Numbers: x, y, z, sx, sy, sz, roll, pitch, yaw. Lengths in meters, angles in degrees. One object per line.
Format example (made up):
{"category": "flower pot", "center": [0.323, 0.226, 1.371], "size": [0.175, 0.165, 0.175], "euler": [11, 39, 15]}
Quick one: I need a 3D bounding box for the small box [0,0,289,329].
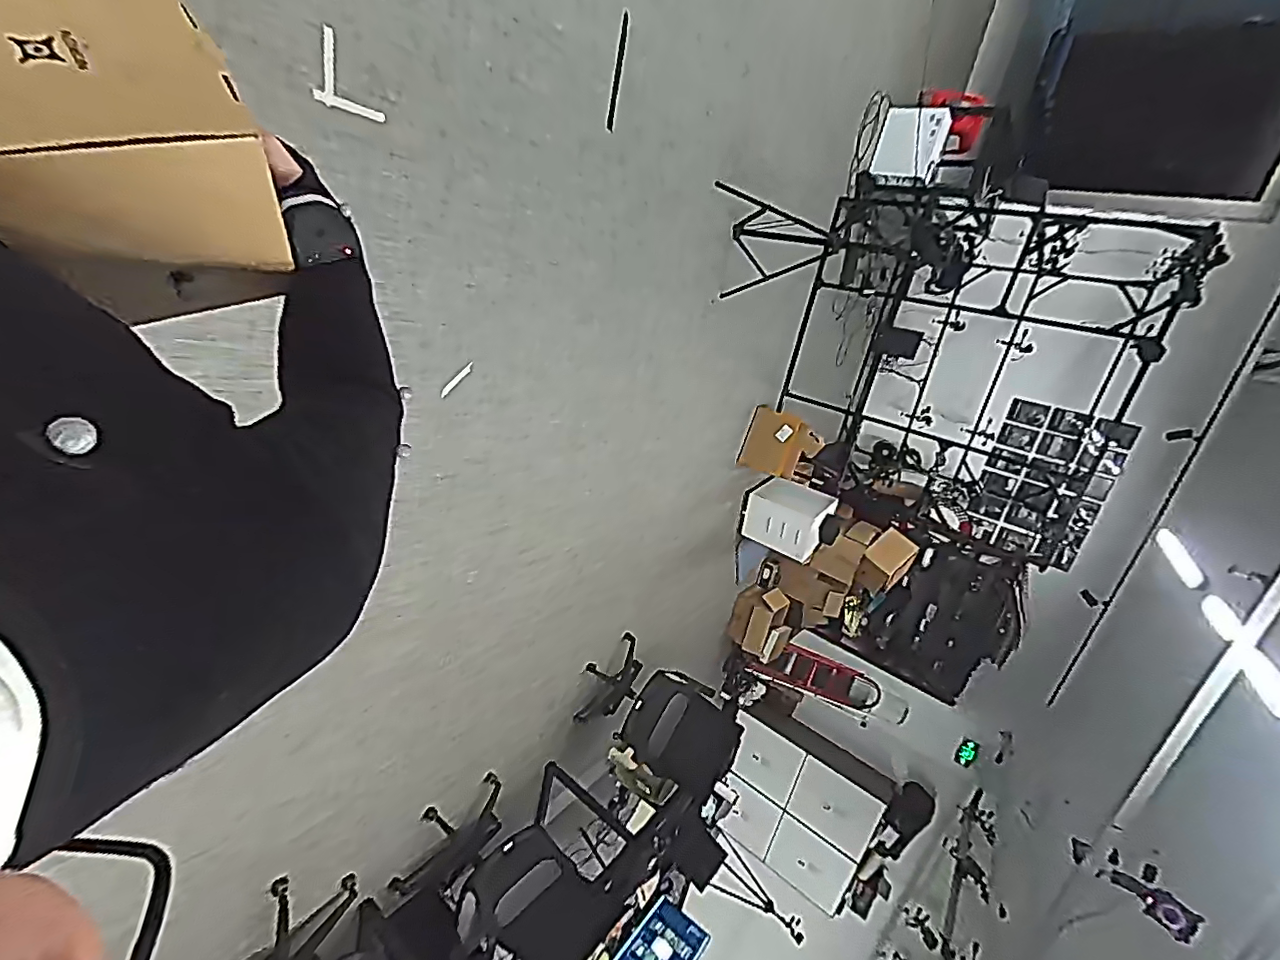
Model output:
{"category": "small box", "center": [-0.417, -0.254, 0.443], "size": [0.179, 0.168, 0.176], "euler": [-28, 170, -31]}
